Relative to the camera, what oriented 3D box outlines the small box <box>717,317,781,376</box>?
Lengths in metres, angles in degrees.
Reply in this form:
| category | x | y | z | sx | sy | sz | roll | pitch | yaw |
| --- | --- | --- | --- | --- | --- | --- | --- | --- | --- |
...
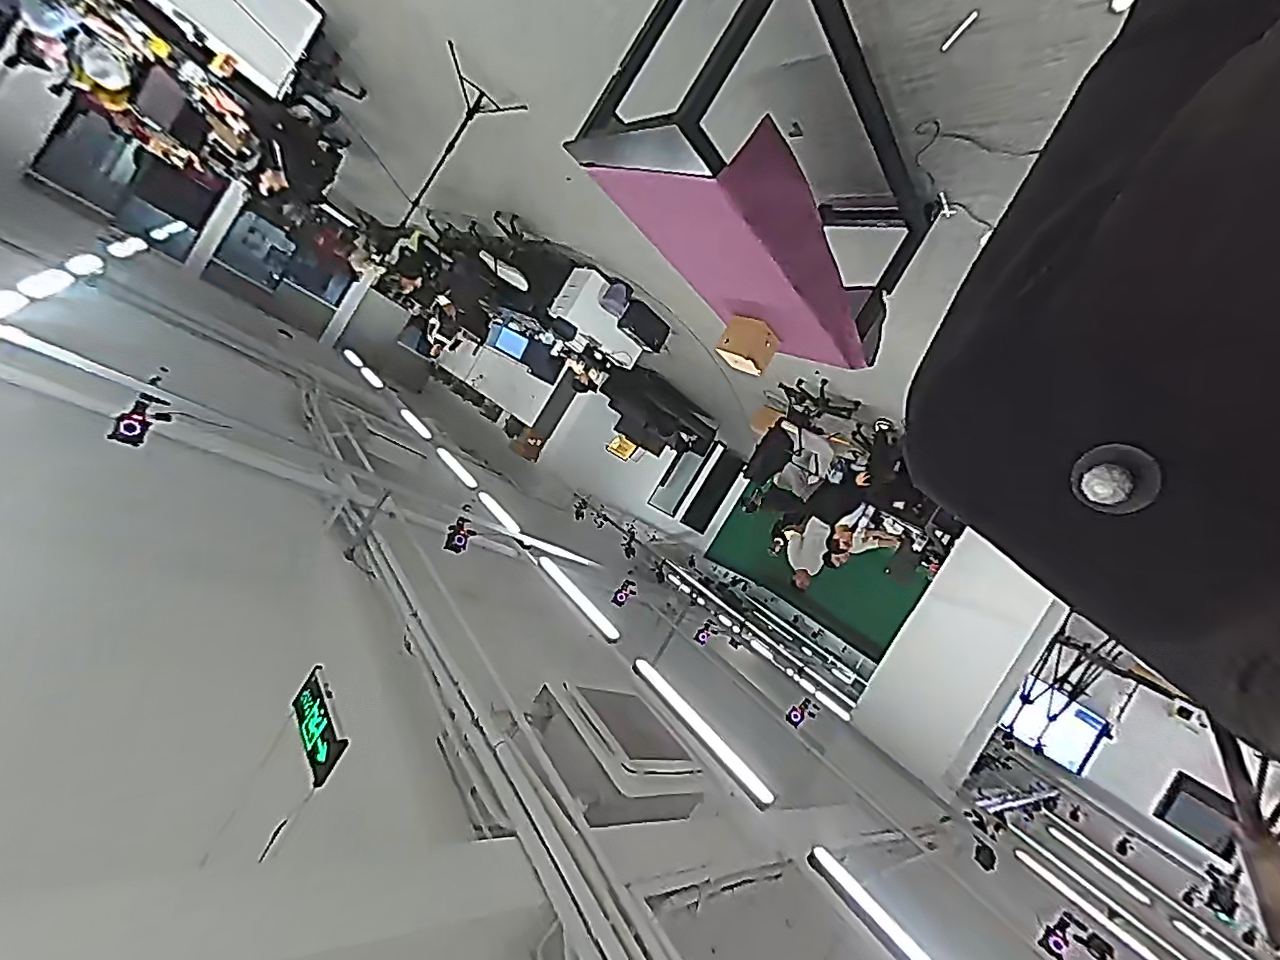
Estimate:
| category | x | y | z | sx | sy | sz | roll | pitch | yaw |
| --- | --- | --- | --- | --- | --- | --- | --- | --- | --- |
| small box | 0.468 | -0.574 | 2.311 | 0.168 | 0.176 | 0.179 | 30 | -179 | -45 |
